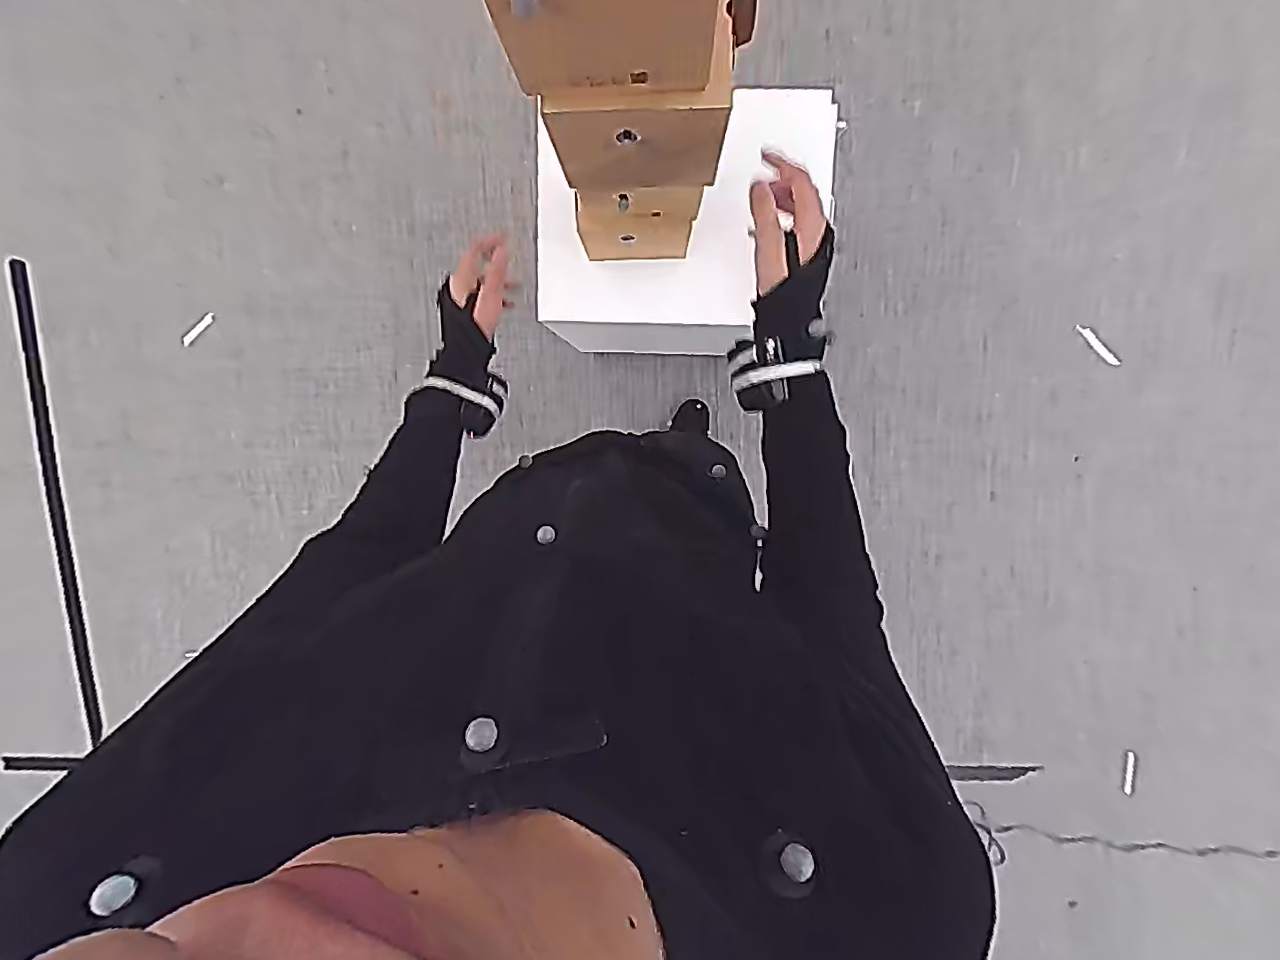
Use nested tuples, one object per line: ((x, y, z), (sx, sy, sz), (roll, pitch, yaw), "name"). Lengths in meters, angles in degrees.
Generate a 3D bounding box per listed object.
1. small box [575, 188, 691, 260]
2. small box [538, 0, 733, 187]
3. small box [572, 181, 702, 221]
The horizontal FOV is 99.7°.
((-0.009, -0.465, 0.880), (0.179, 0.176, 0.168), (-1, 97, 1), "small box")
((-0.002, -0.420, 0.556), (0.179, 0.176, 0.168), (0, 97, 1), "small box")
((0.001, -0.458, 0.717), (0.168, 0.176, 0.179), (0, 97, 1), "small box")
